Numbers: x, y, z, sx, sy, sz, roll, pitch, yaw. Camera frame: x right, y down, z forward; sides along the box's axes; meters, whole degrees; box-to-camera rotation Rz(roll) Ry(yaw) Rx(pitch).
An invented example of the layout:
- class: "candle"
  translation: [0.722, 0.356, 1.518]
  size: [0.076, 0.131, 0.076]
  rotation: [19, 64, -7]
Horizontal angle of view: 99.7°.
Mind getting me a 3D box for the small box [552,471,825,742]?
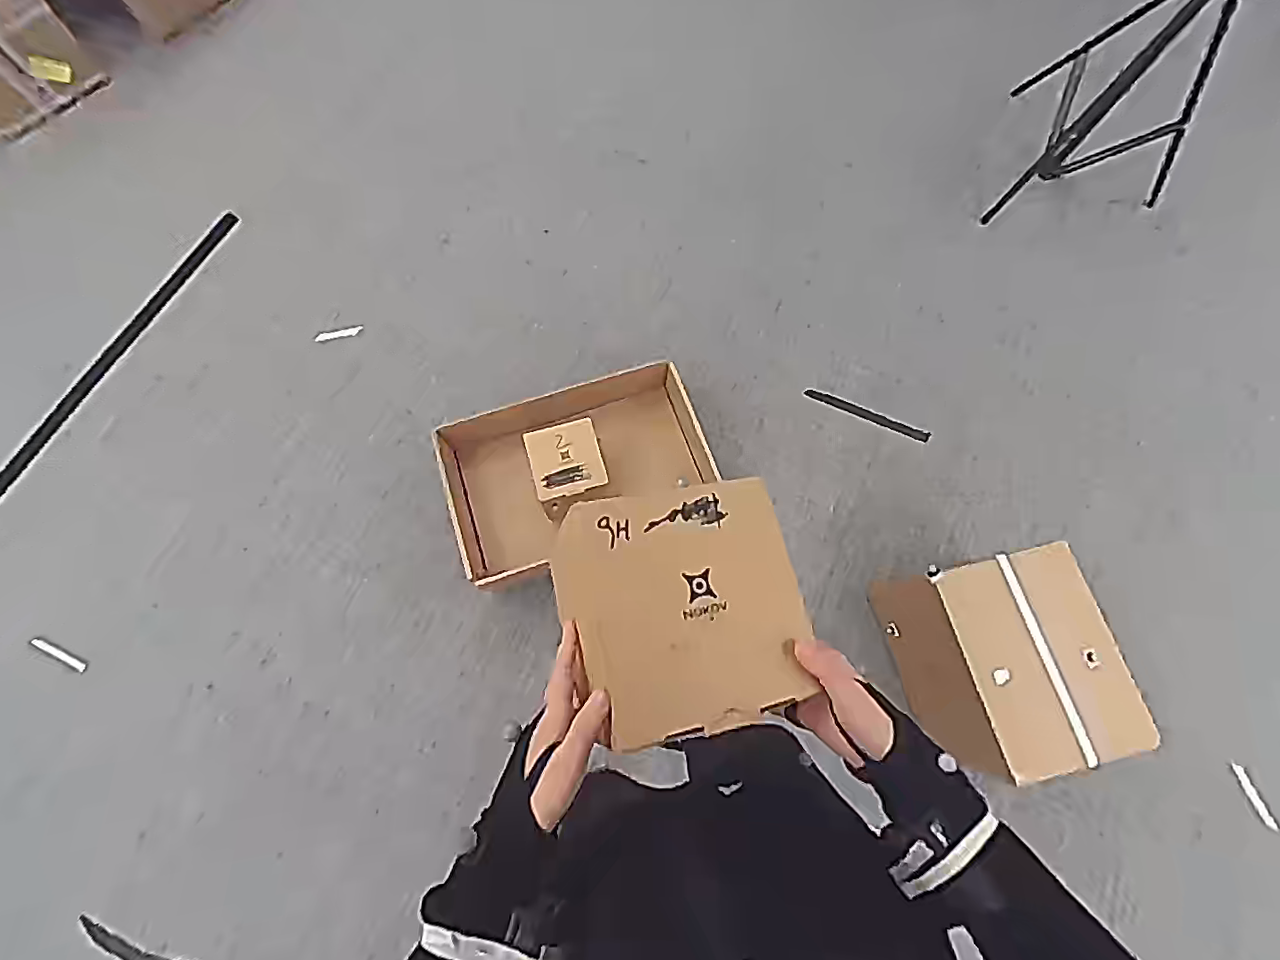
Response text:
- class: "small box"
  translation: [0.025, 0.109, 0.477]
  size: [0.168, 0.176, 0.179]
  rotation: [-8, 73, -20]
